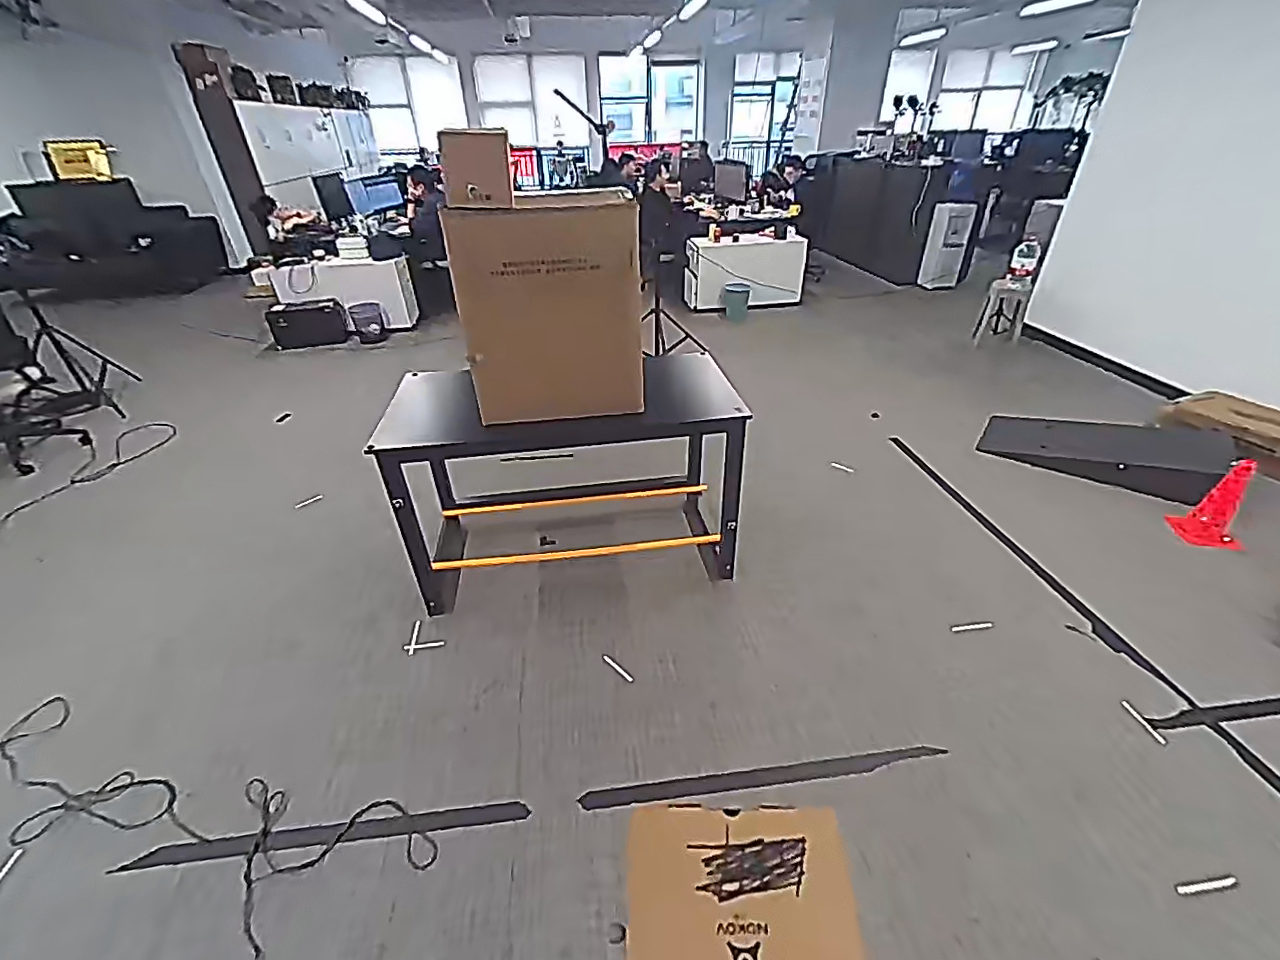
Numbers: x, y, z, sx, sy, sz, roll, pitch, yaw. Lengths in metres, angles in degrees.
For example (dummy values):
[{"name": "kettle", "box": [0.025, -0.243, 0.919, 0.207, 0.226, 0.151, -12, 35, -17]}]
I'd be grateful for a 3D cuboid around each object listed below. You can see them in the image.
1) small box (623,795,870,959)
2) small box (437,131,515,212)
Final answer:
[{"name": "small box", "box": [0.070, 0.372, 0.422, 0.168, 0.176, 0.179, 1, 42, -1]}, {"name": "small box", "box": [-0.420, -0.804, 1.407, 0.168, 0.176, 0.179, -6, 36, -9]}]
